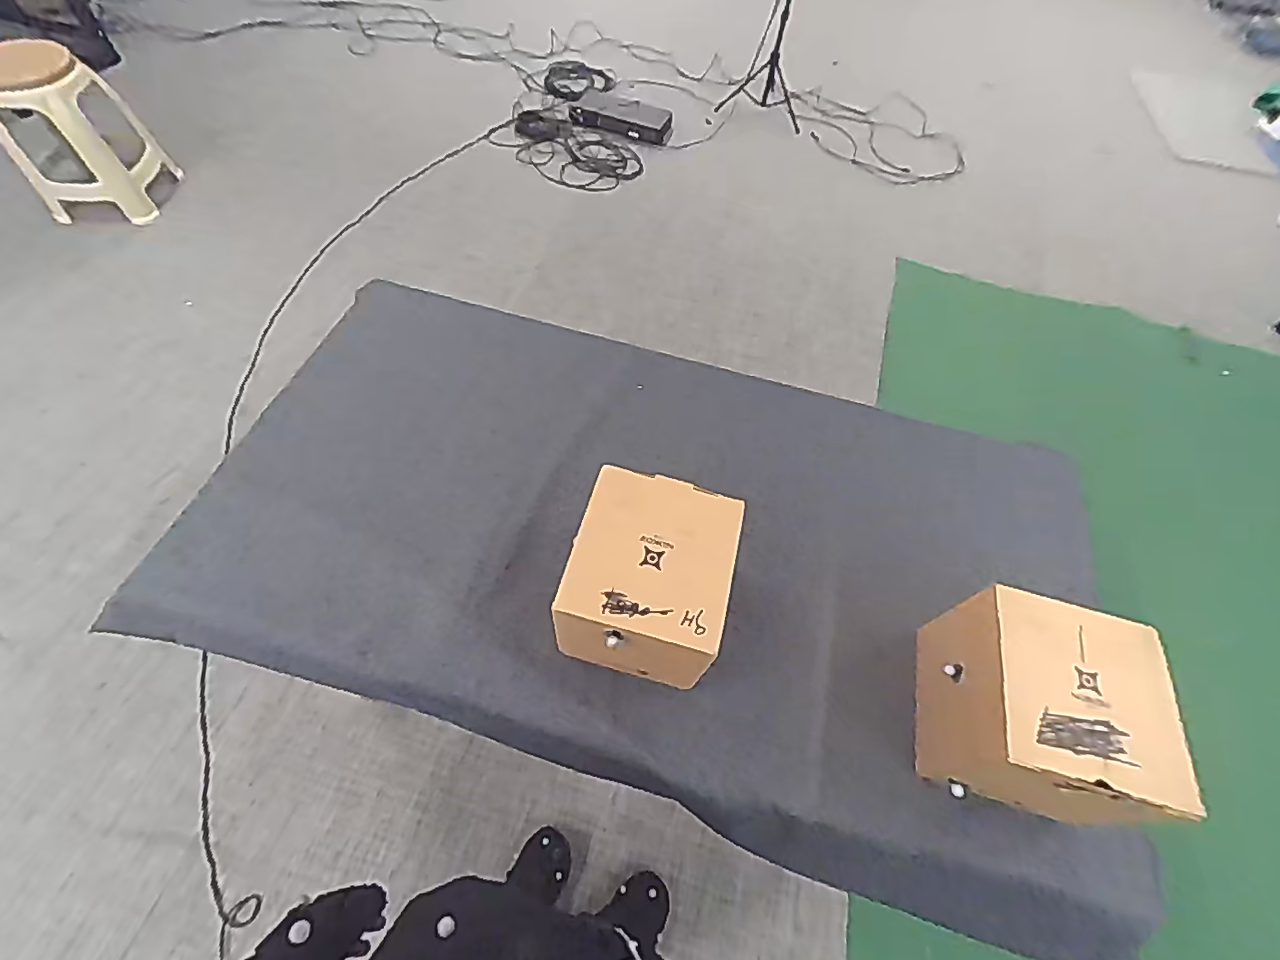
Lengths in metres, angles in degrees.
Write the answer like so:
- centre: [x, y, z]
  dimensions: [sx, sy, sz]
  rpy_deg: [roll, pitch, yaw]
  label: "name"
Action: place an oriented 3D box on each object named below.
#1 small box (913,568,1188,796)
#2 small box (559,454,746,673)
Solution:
- centre: [0.419, 0.226, 0.590]
  dimensions: [0.168, 0.176, 0.179]
  rpy_deg: [16, 58, 5]
  label: "small box"
- centre: [0.012, 0.103, 0.631]
  dimensions: [0.168, 0.176, 0.179]
  rpy_deg: [15, 59, 4]
  label: "small box"
